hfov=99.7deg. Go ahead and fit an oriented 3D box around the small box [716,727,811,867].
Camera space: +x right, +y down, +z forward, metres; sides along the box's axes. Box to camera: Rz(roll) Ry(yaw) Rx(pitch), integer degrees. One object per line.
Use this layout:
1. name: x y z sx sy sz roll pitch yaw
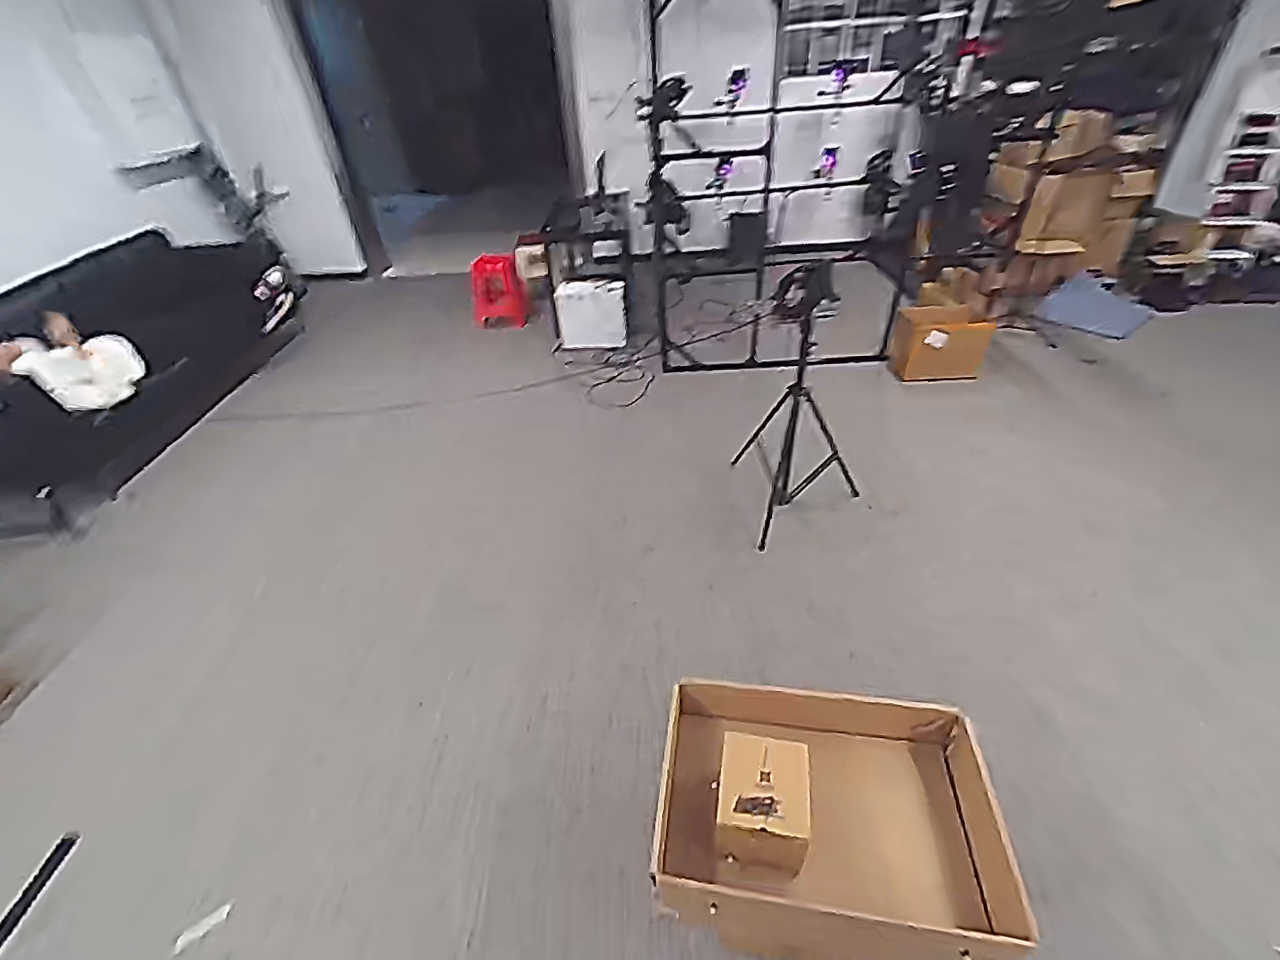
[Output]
1. small box: 0.241 0.624 1.063 0.168 0.176 0.179 5 38 12
